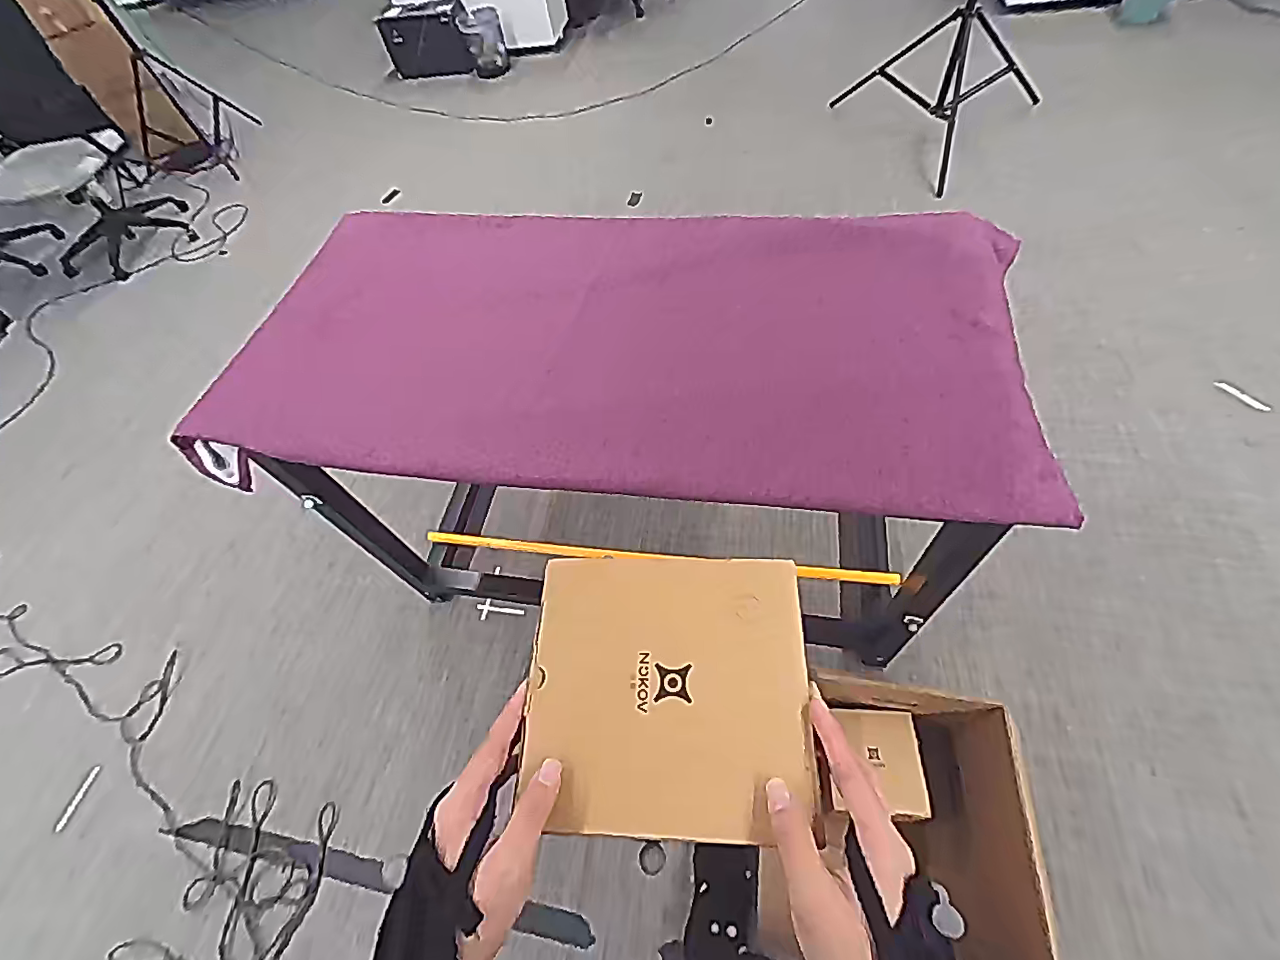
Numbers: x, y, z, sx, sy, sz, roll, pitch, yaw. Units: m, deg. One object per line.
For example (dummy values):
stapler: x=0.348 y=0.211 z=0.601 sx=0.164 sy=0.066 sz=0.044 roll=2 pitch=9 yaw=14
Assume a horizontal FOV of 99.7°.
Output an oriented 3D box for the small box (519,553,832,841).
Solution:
small box: x=0.028 y=0.163 z=0.406 sx=0.179 sy=0.176 sz=0.168 roll=-1 pitch=59 yaw=6
